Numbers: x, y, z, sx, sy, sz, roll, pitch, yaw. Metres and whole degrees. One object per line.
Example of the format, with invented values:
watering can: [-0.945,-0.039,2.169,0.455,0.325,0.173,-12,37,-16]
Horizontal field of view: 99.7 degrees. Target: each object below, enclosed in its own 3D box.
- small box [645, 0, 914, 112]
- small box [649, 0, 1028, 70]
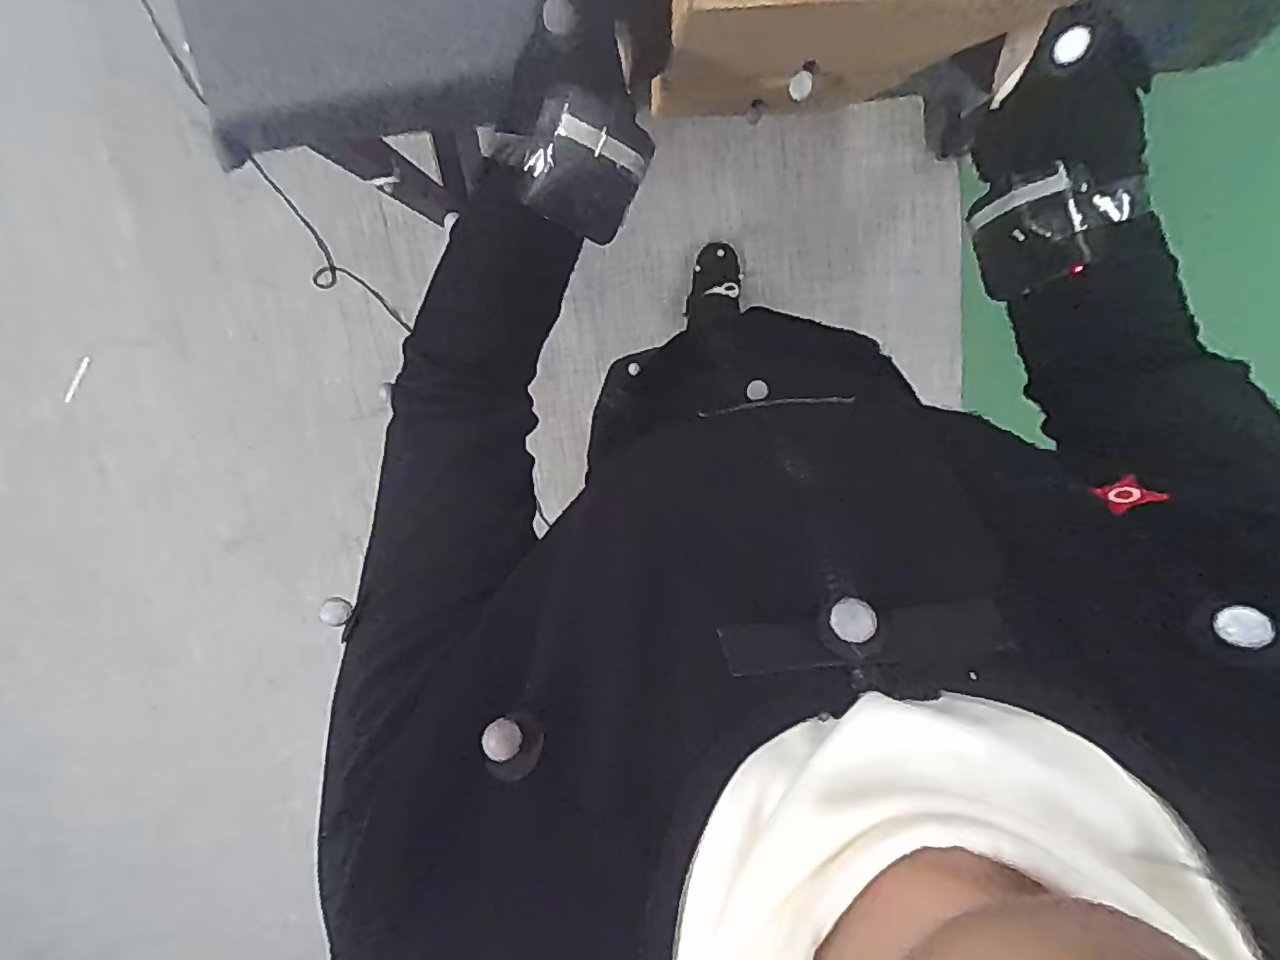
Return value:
small box: [0.095,-0.394,0.412,0.179,0.176,0.168,-6,118,1]
small box: [0.095,-0.320,0.264,0.179,0.176,0.168,-3,117,0]
